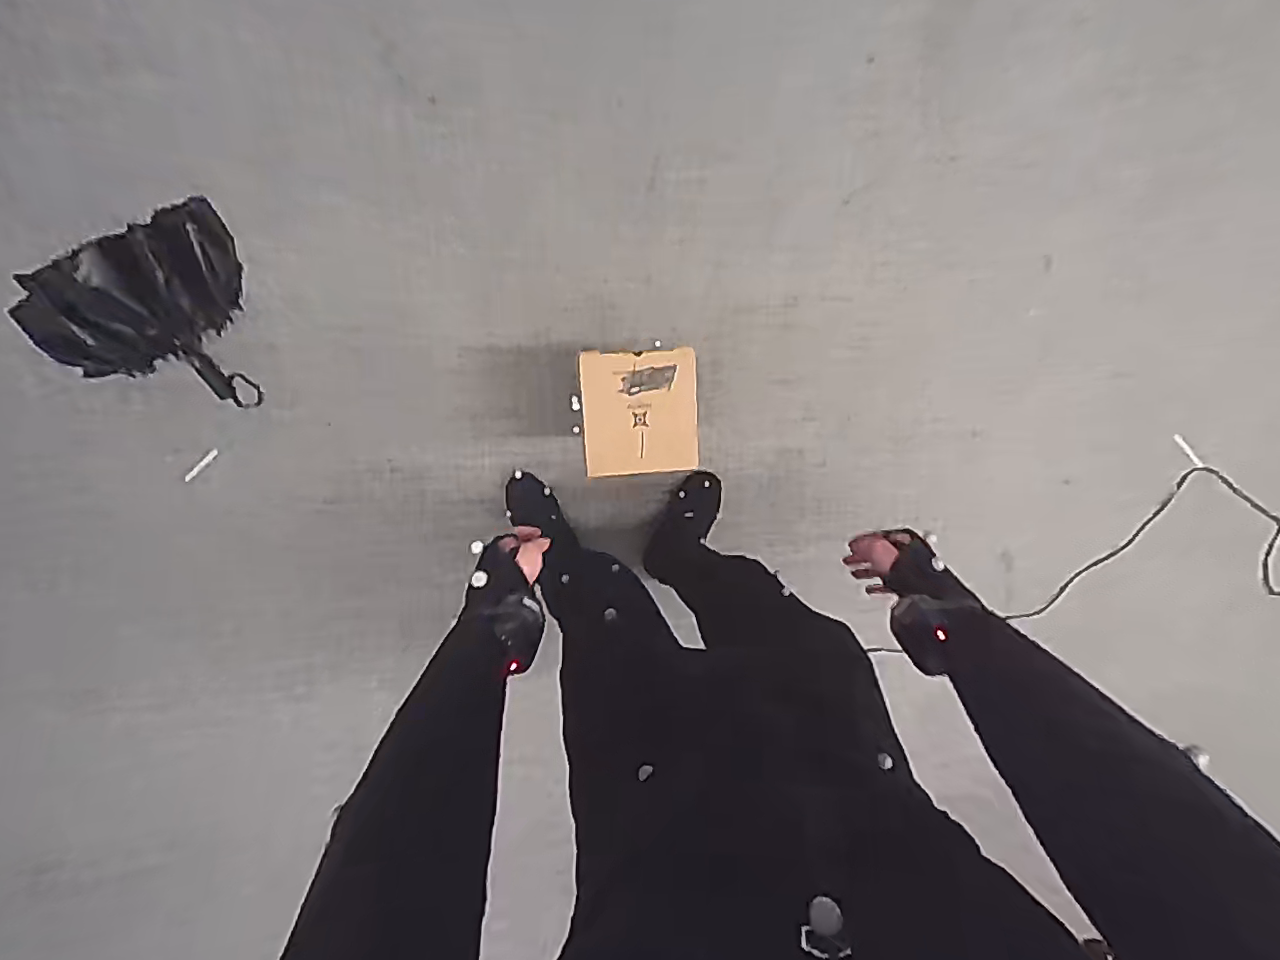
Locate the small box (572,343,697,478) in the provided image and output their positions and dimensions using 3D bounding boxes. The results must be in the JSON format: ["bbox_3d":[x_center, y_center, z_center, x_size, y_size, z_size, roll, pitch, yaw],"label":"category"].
[{"bbox_3d":[-0.013,-0.111,0.812,0.168,0.176,0.179,-5,105,-6],"label":"small box"}]
